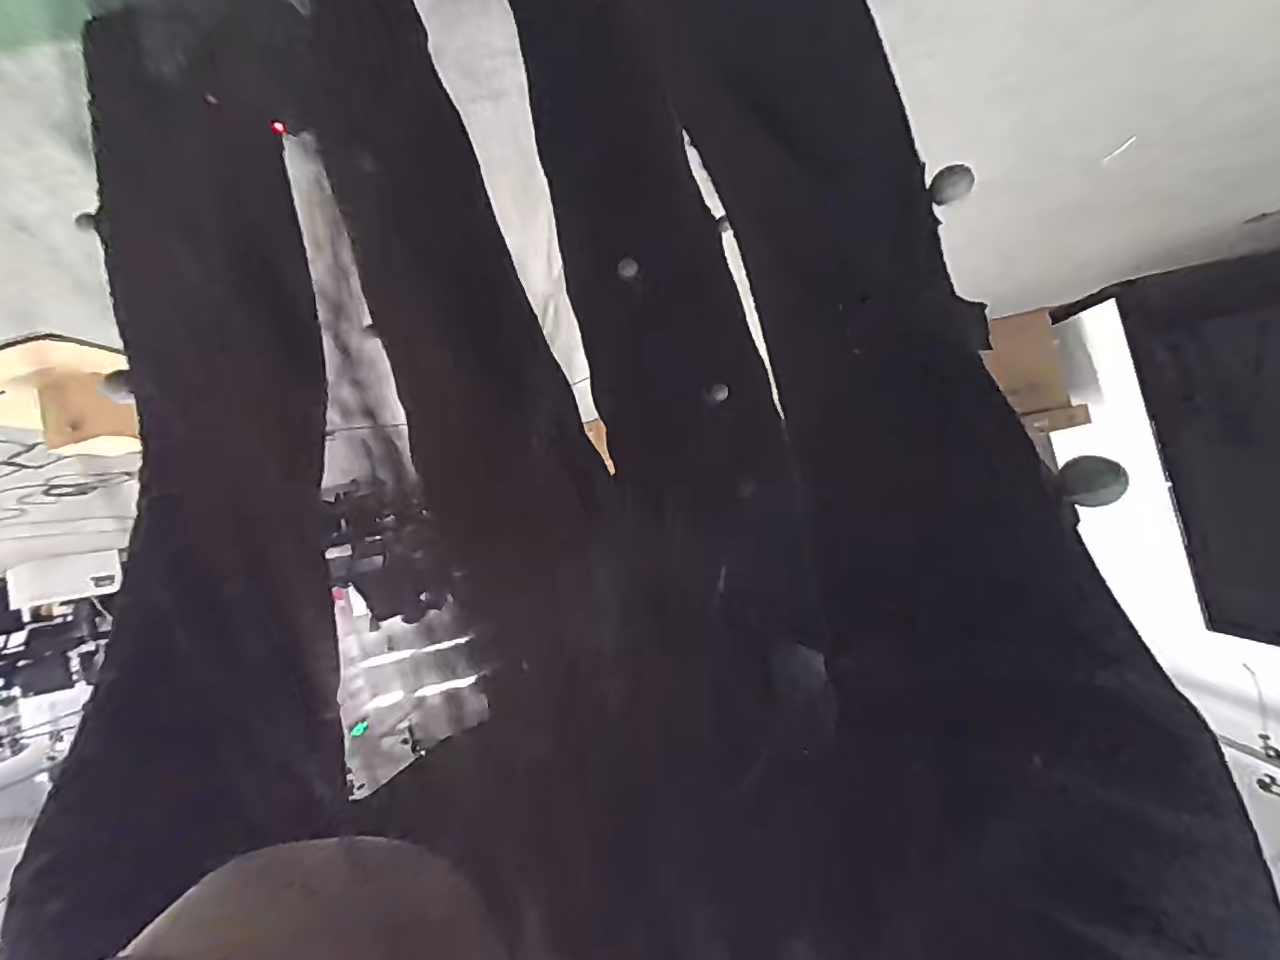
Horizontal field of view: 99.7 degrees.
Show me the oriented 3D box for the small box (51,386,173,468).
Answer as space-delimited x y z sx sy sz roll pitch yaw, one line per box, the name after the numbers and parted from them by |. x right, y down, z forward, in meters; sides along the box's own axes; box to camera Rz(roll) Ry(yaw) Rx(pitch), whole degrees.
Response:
-1.420 -0.139 1.455 0.179 0.176 0.168 -14 176 5 | small box
